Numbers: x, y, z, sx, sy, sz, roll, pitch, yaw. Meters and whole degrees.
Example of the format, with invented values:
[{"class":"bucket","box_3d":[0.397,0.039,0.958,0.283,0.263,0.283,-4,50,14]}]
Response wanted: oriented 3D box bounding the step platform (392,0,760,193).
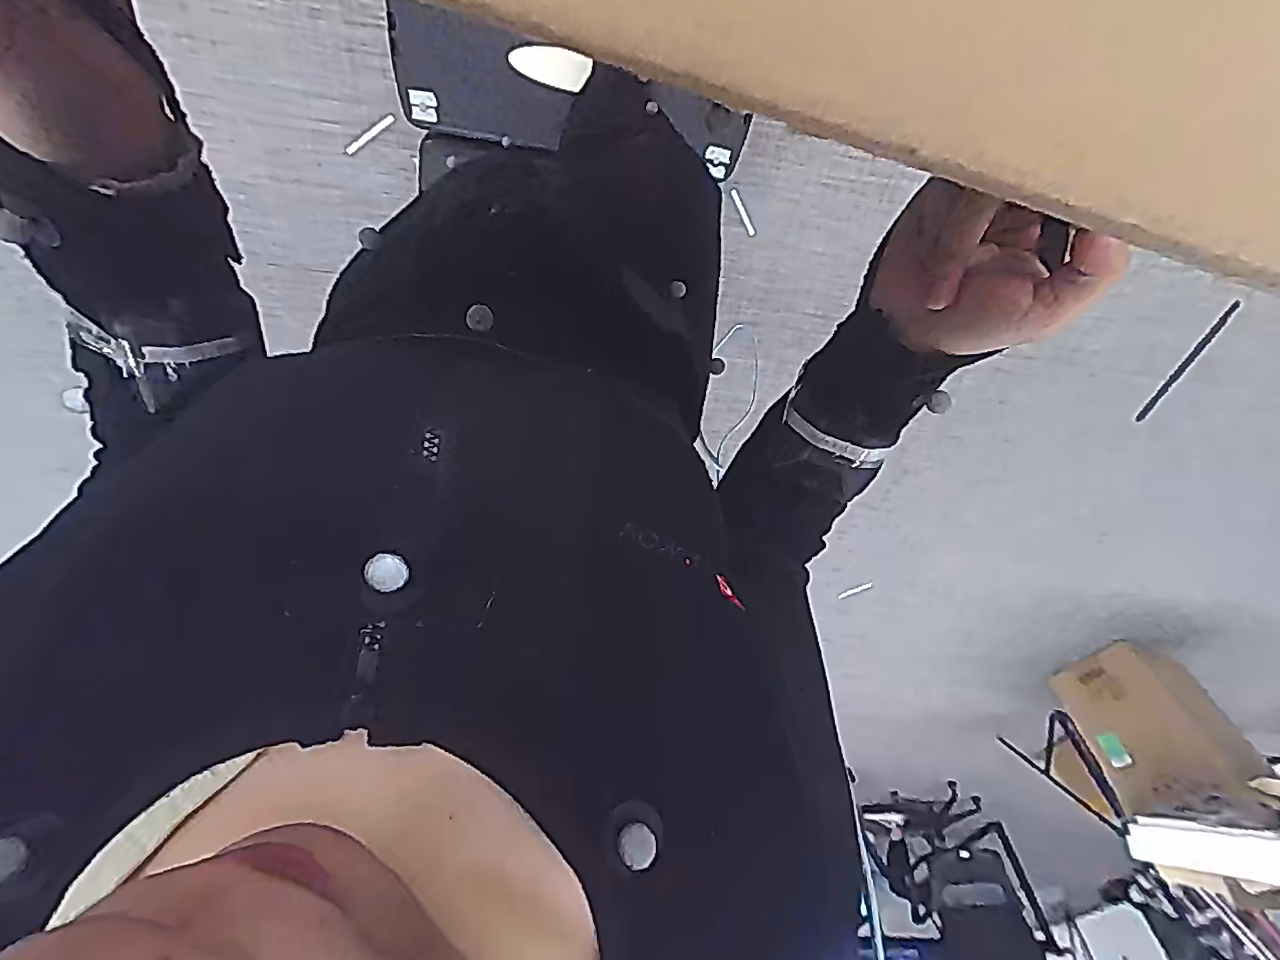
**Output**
[{"class":"step platform","box_3d":[-0.103,-0.795,1.041,0.684,0.204,0.286,10,130,-10]}]
